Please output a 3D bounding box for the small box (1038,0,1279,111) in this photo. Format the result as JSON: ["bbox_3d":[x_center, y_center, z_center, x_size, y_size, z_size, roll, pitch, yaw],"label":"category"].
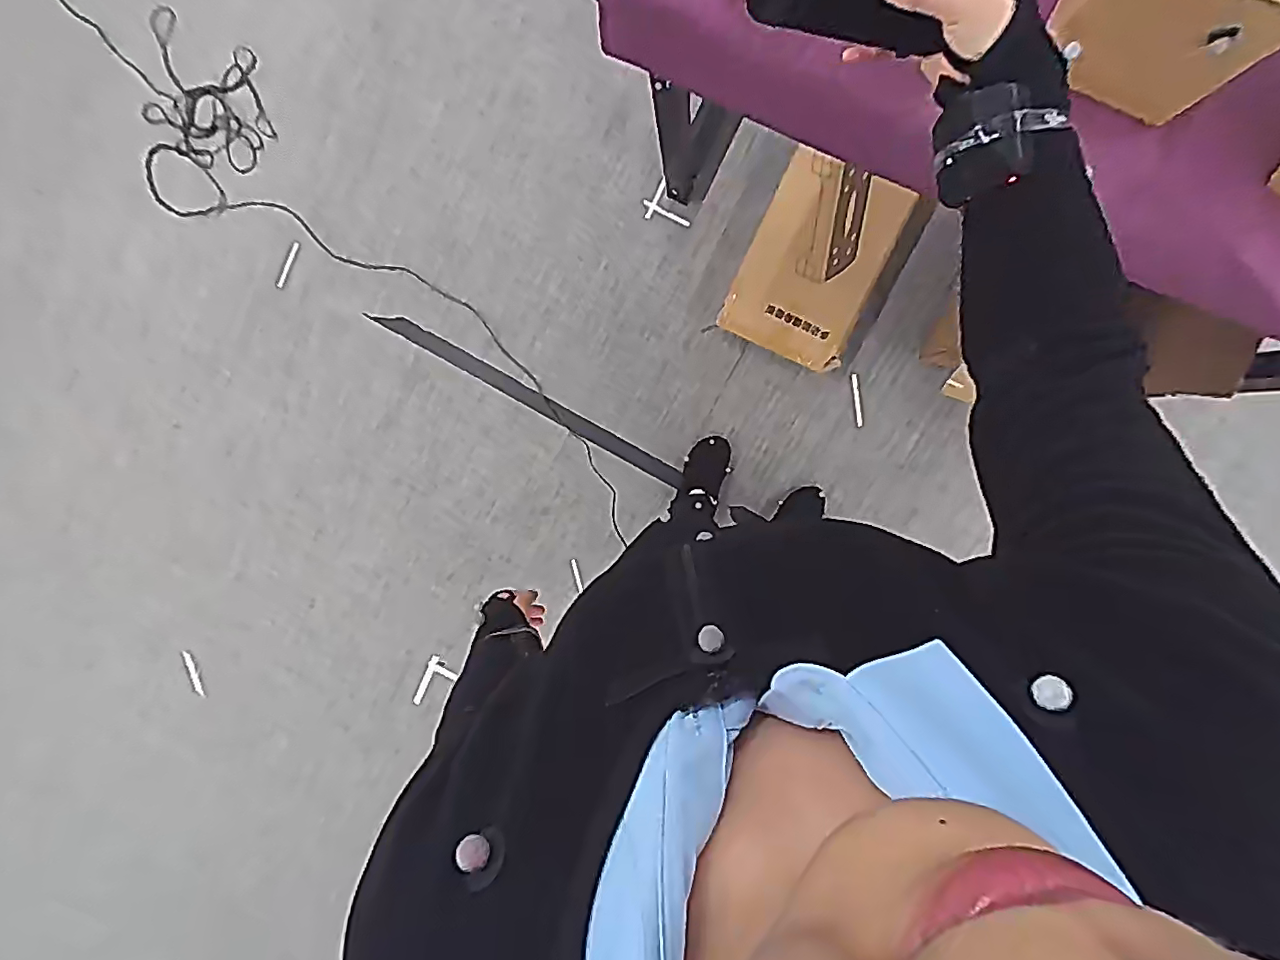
[{"bbox_3d":[0.570,-0.523,0.549,0.179,0.176,0.168,26,96,3],"label":"small box"}]
